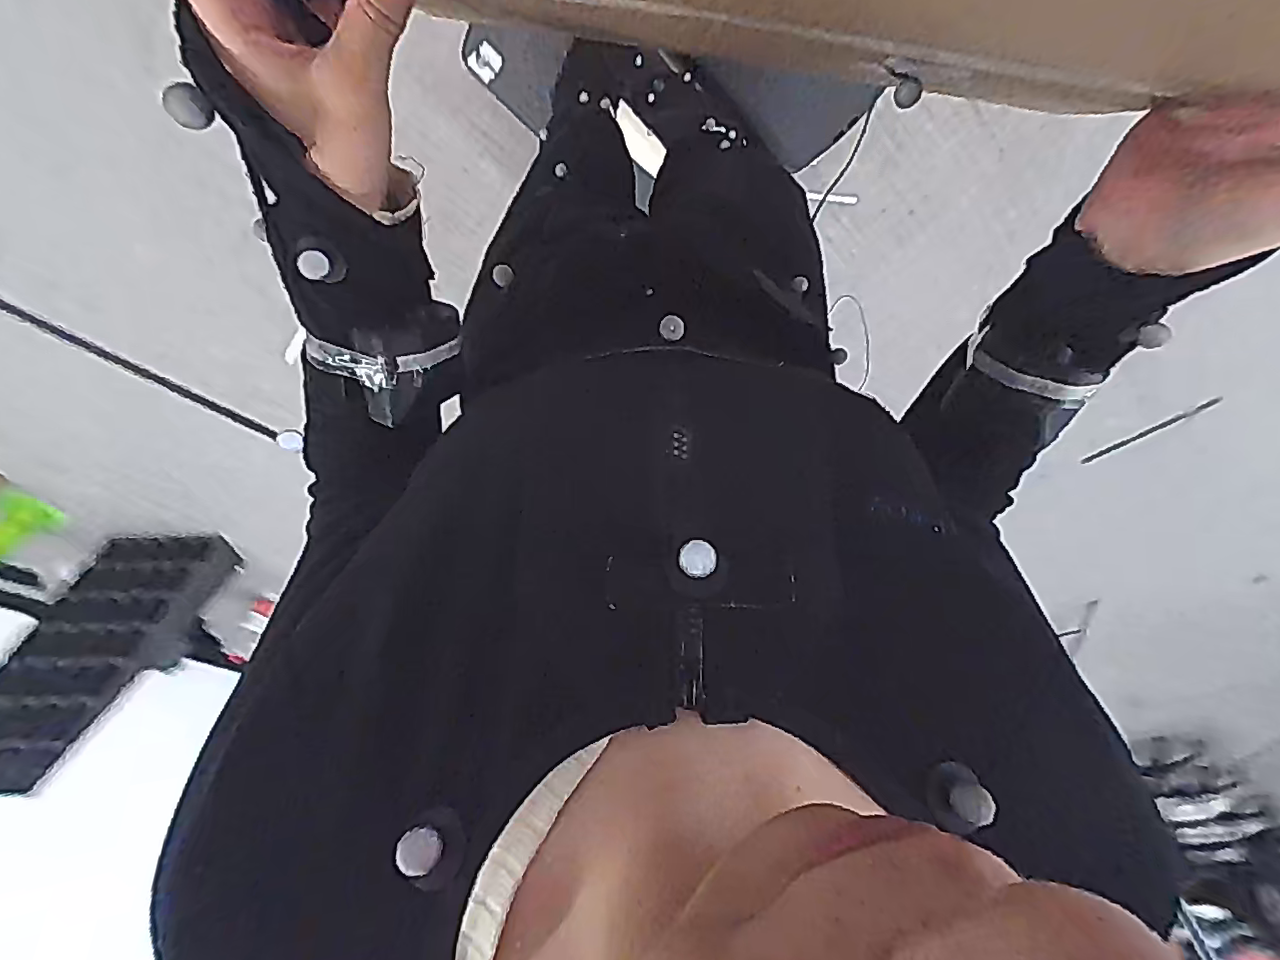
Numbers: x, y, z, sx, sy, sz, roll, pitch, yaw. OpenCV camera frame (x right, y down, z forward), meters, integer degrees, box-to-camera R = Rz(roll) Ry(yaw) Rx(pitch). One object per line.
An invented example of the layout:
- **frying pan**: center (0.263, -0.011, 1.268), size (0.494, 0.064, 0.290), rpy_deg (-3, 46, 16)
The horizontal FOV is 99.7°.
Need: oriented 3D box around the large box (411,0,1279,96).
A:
- **large box**: center (0.073, -0.311, 0.125), size (0.408, 0.320, 0.320), rpy_deg (7, 124, -2)
